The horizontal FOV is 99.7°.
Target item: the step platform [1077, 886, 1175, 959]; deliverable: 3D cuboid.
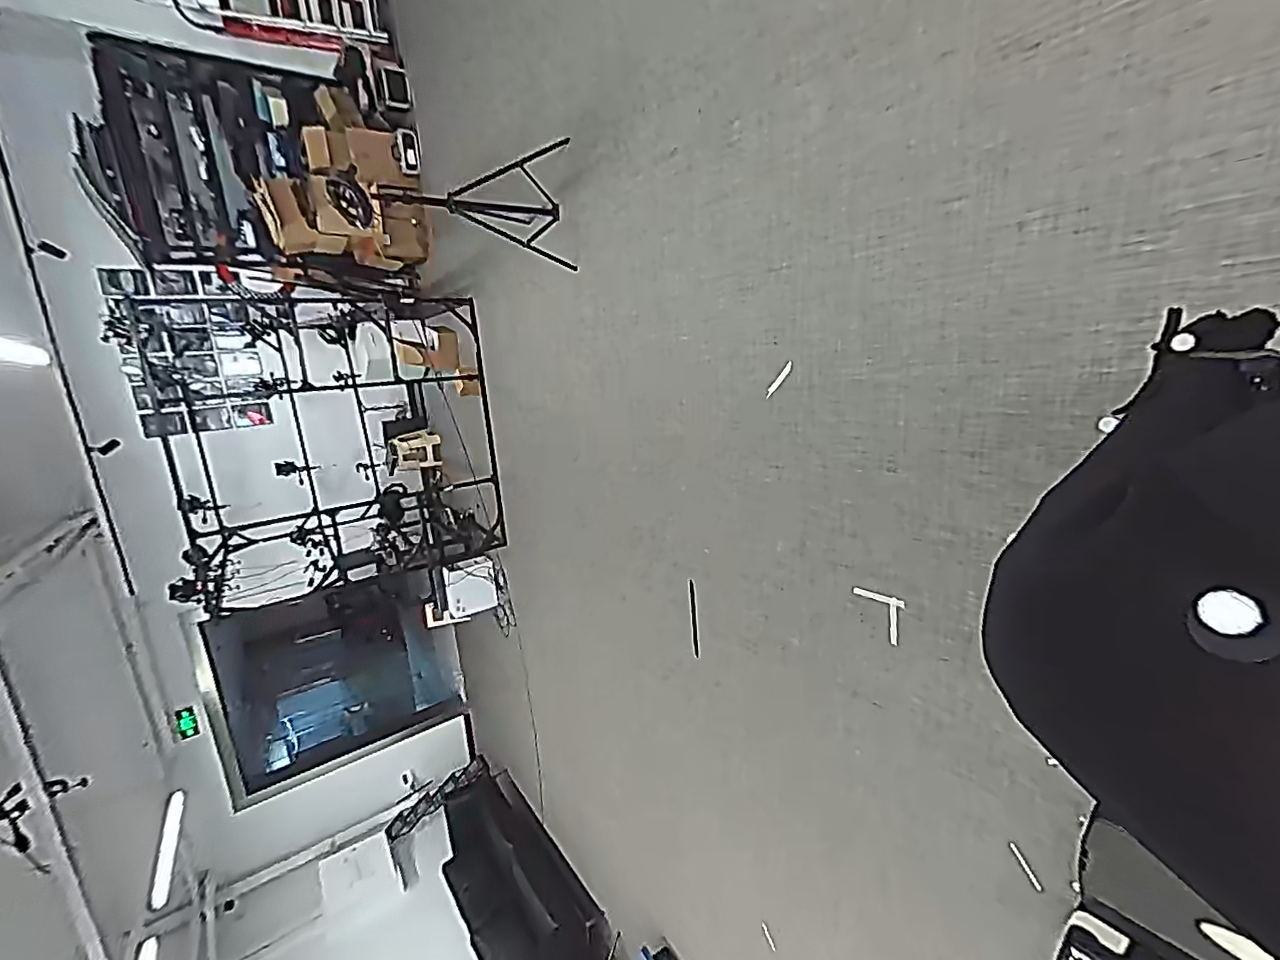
[{"bbox_3d":[1.285,1.185,1.054,0.684,0.204,0.286,13,111,56],"label":"step platform"}]
